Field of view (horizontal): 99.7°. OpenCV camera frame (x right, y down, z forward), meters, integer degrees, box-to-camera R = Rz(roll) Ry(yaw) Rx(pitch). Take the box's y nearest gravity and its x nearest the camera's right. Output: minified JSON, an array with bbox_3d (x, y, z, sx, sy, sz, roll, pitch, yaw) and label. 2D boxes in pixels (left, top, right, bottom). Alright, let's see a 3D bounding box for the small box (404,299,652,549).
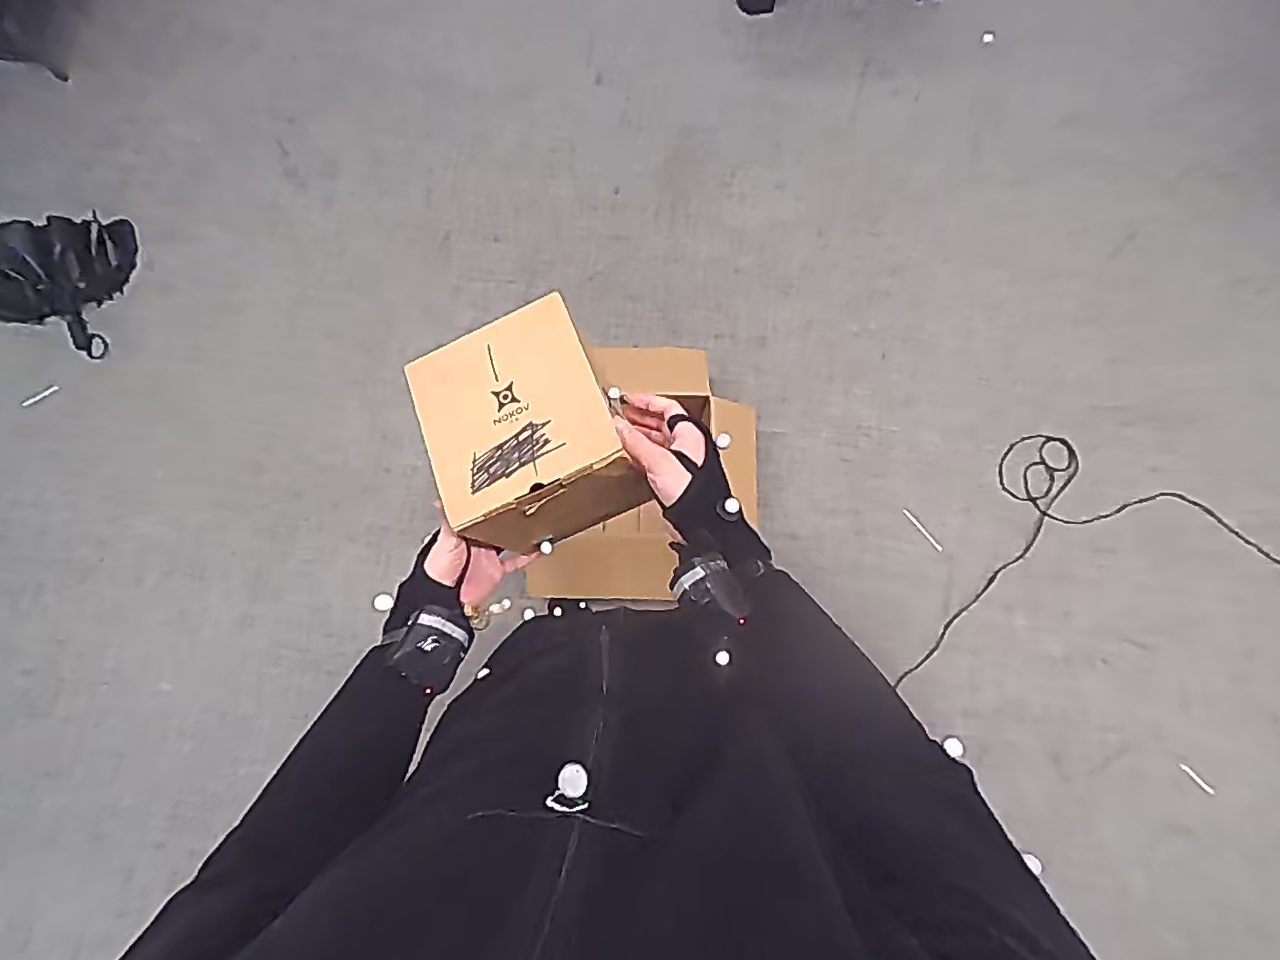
[{"bbox_3d":[-0.101,-0.039,0.548,0.168,0.176,0.179,-24,72,5],"label":"small box"}]
